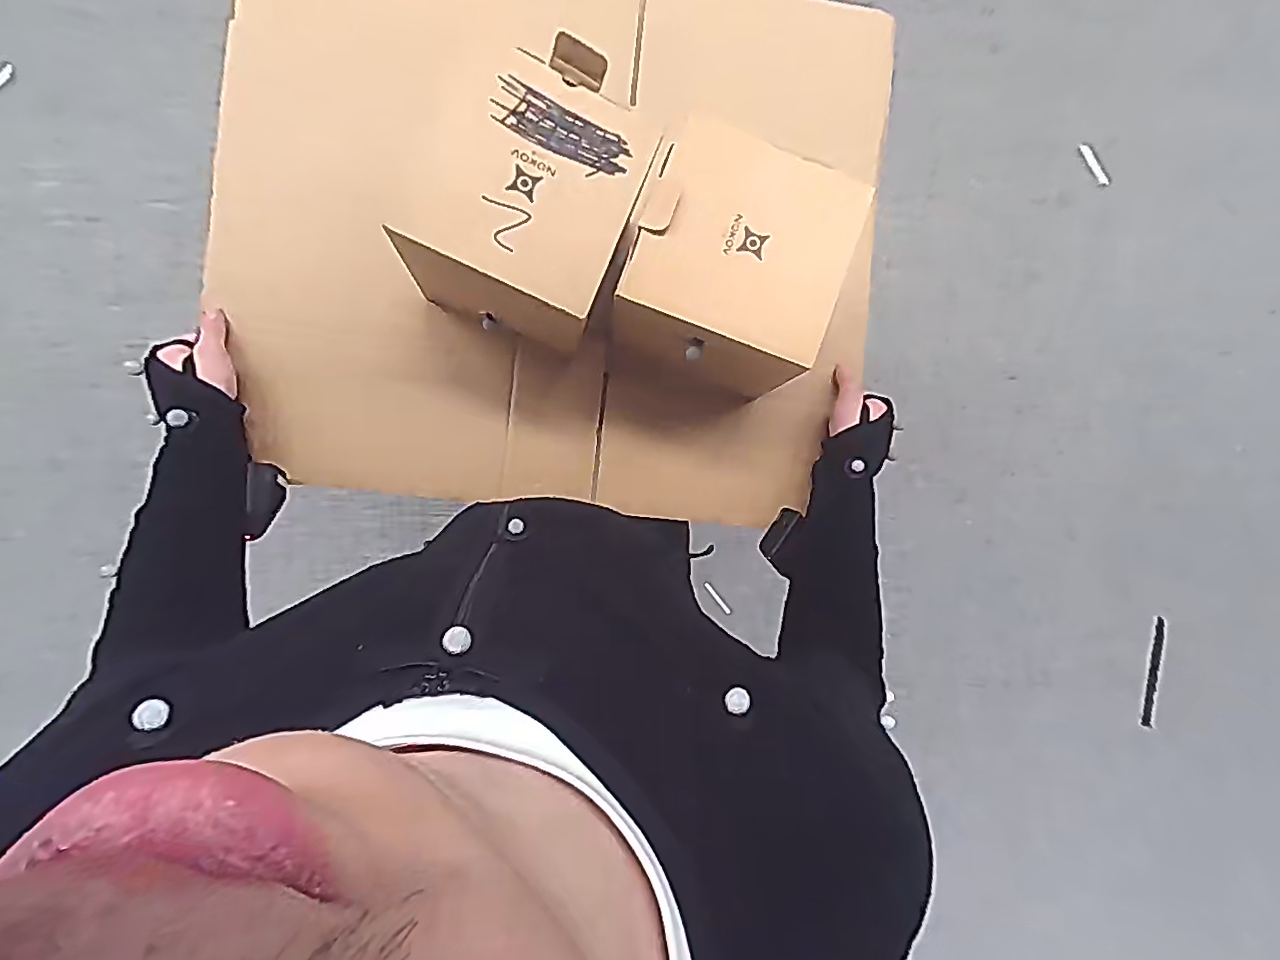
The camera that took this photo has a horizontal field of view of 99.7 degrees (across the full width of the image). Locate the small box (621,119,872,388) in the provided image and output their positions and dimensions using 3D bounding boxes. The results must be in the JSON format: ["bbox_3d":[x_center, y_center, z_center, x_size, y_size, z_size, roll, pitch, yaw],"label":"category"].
[{"bbox_3d":[0.089,-0.201,0.539,0.179,0.176,0.168,20,88,-3],"label":"small box"}]
